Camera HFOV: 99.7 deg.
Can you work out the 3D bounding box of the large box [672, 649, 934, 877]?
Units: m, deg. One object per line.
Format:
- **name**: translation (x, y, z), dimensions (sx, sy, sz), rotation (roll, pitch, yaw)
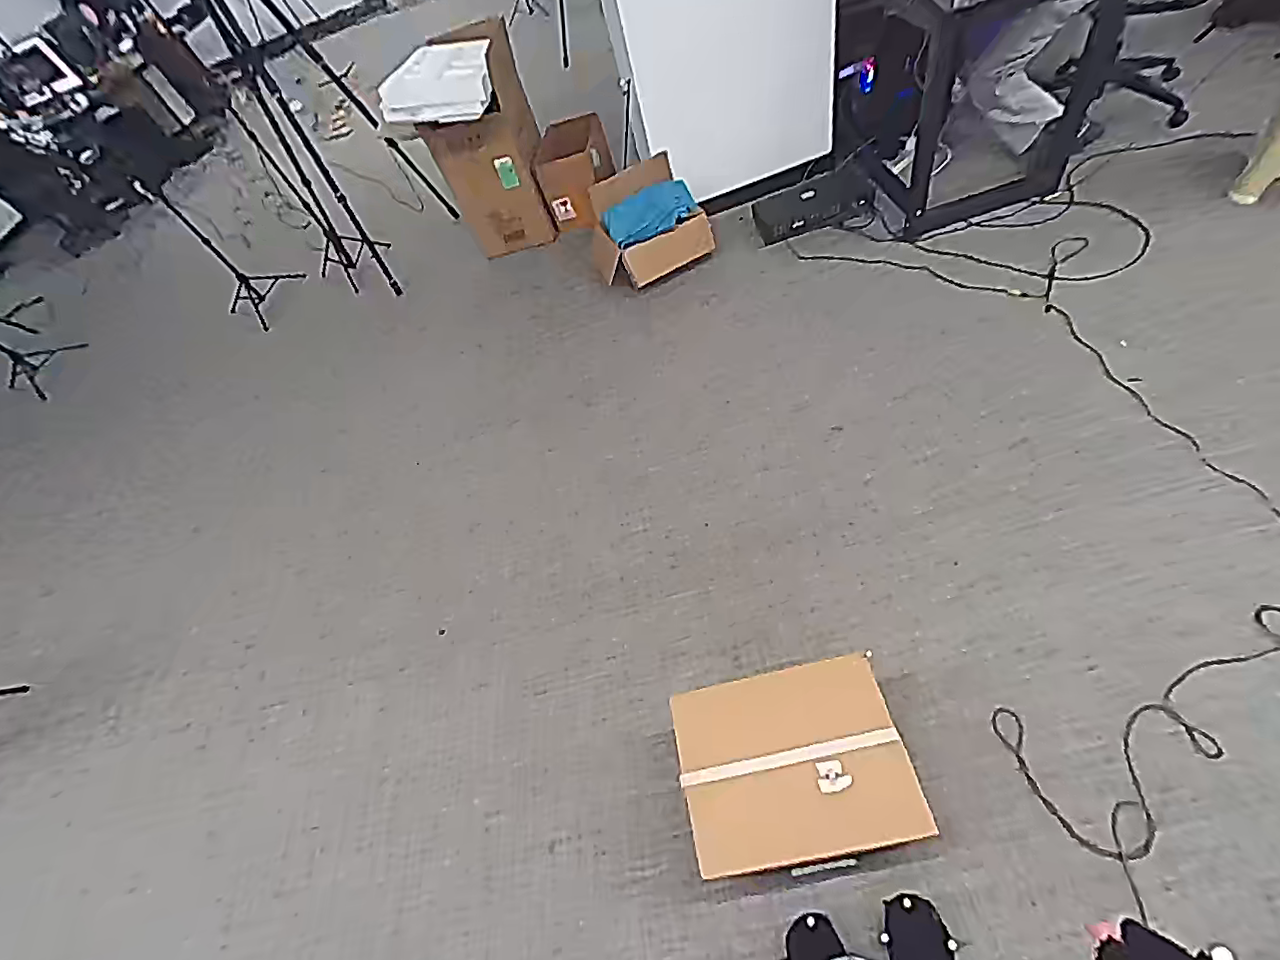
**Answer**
- **large box**: translation (0.312, 0.595, 1.123), dimensions (0.408, 0.320, 0.320), rotation (-16, 53, 6)
